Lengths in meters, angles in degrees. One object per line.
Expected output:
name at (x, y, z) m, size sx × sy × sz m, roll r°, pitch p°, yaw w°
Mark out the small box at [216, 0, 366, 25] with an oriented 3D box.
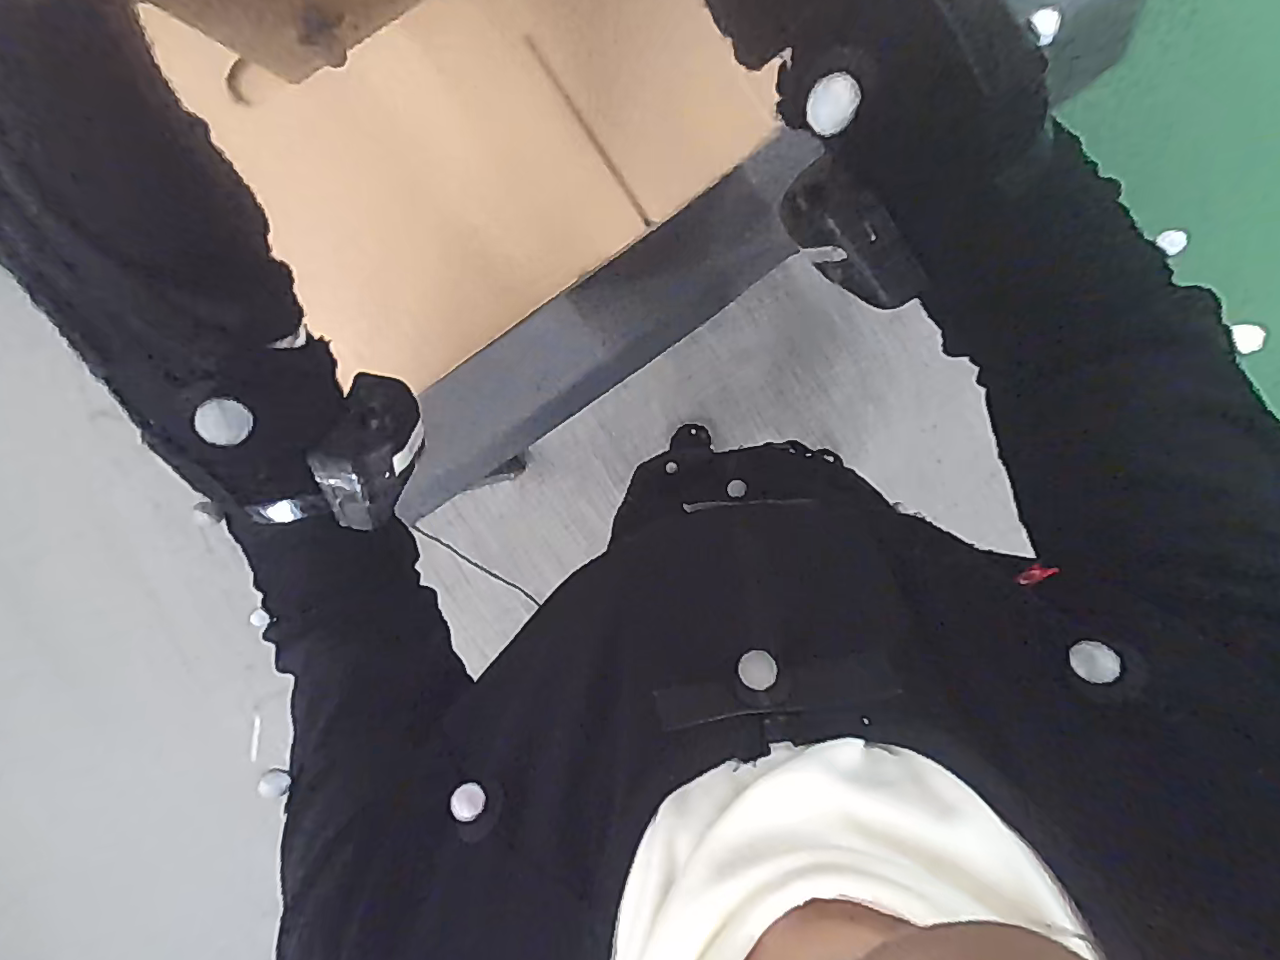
small box at (-0.128, -0.273, 0.145) m, size 0.168 × 0.176 × 0.179 m, roll -26°, pitch 111°, yaw 8°
